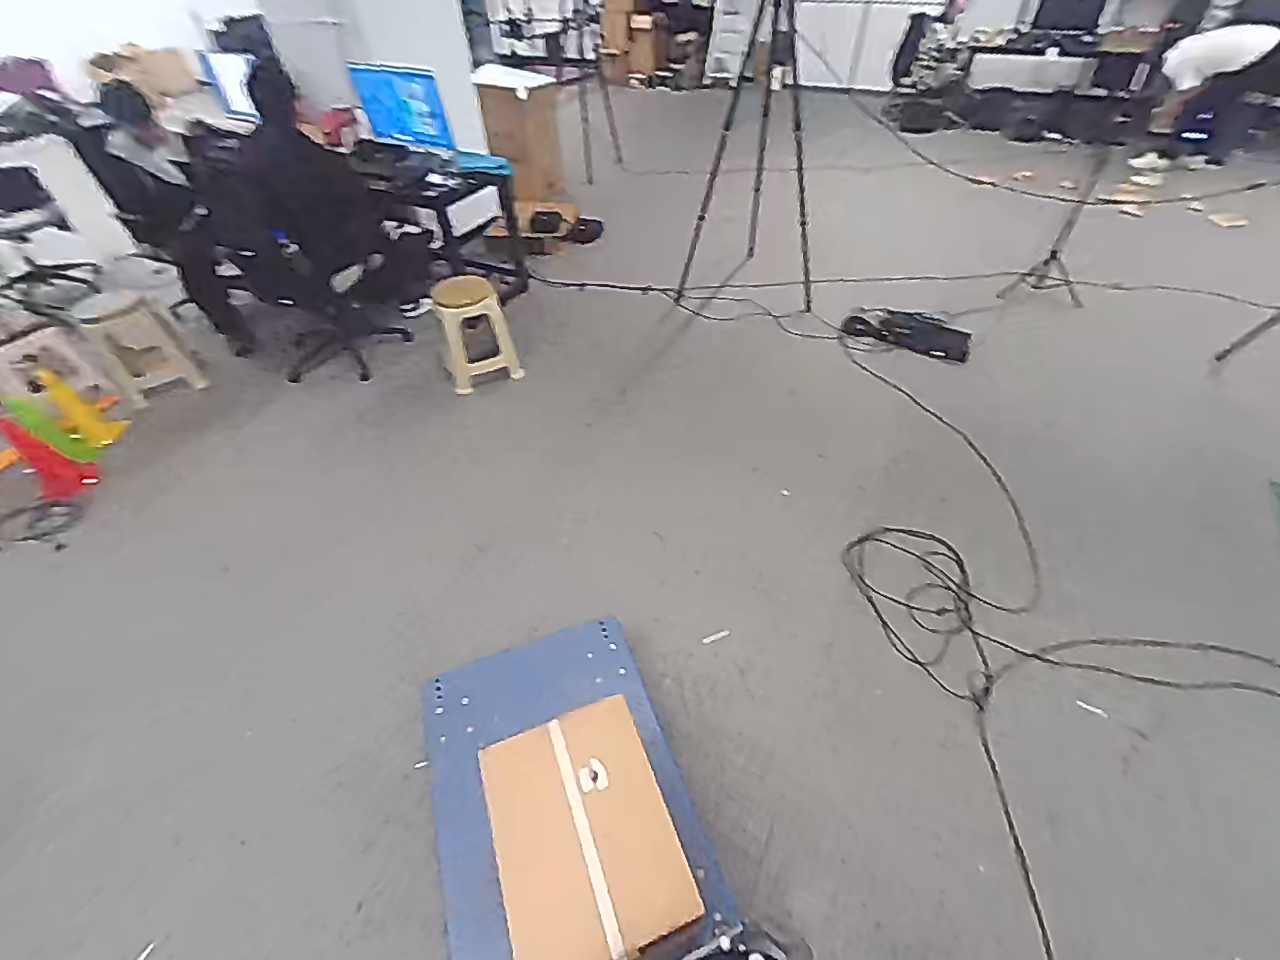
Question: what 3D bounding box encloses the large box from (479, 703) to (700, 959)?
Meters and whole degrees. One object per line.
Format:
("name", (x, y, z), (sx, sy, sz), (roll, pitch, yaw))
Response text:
("large box", (-0.106, 0.757, 1.108), (0.320, 0.320, 0.408), (-16, 45, -15))
